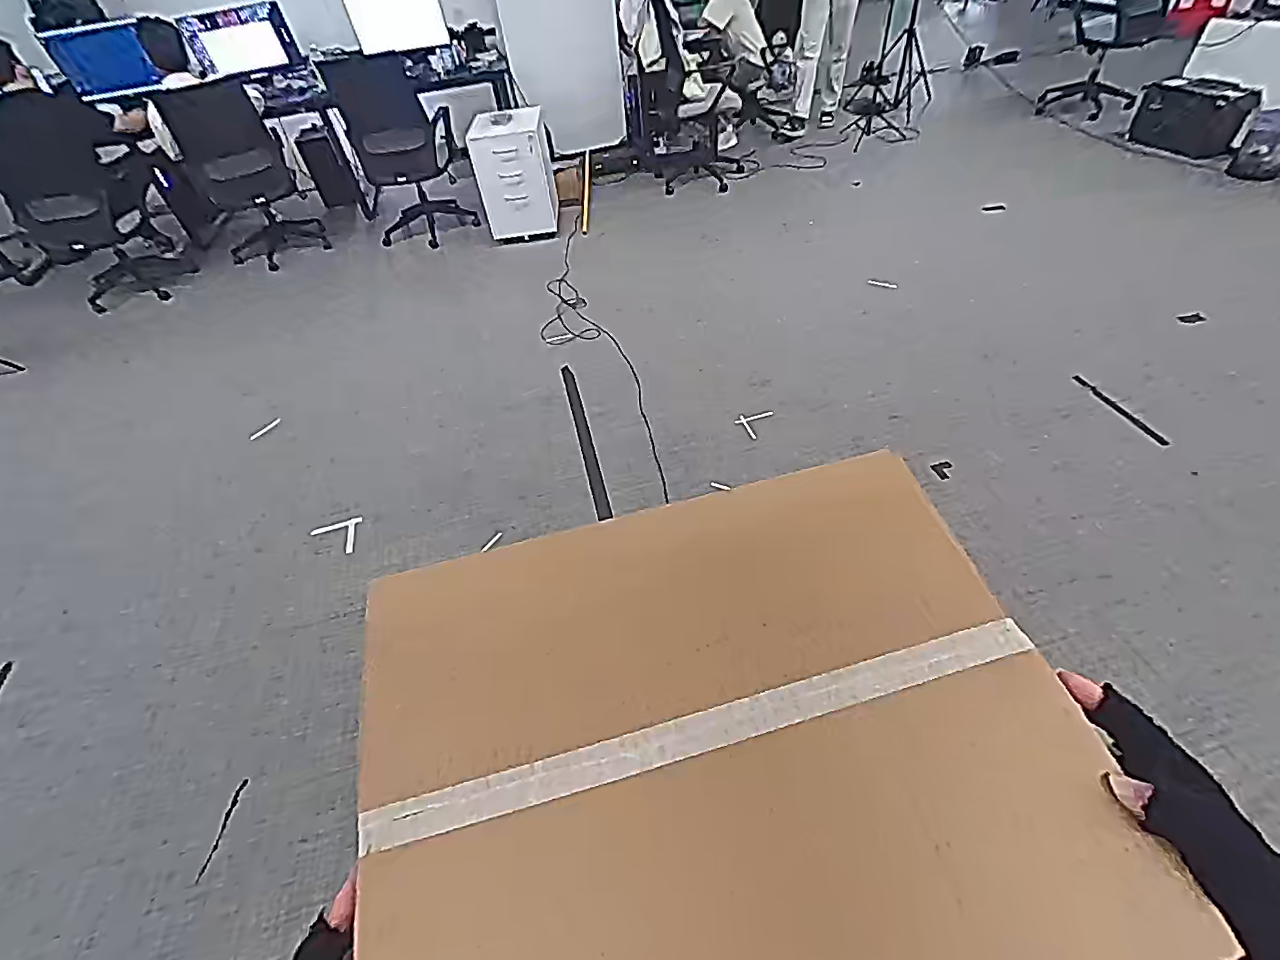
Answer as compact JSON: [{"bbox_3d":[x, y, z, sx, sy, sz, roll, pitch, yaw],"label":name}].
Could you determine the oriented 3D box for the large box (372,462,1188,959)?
[{"bbox_3d":[0.052,0.238,0.448,0.408,0.320,0.320,-15,54,-6],"label":"large box"}]
